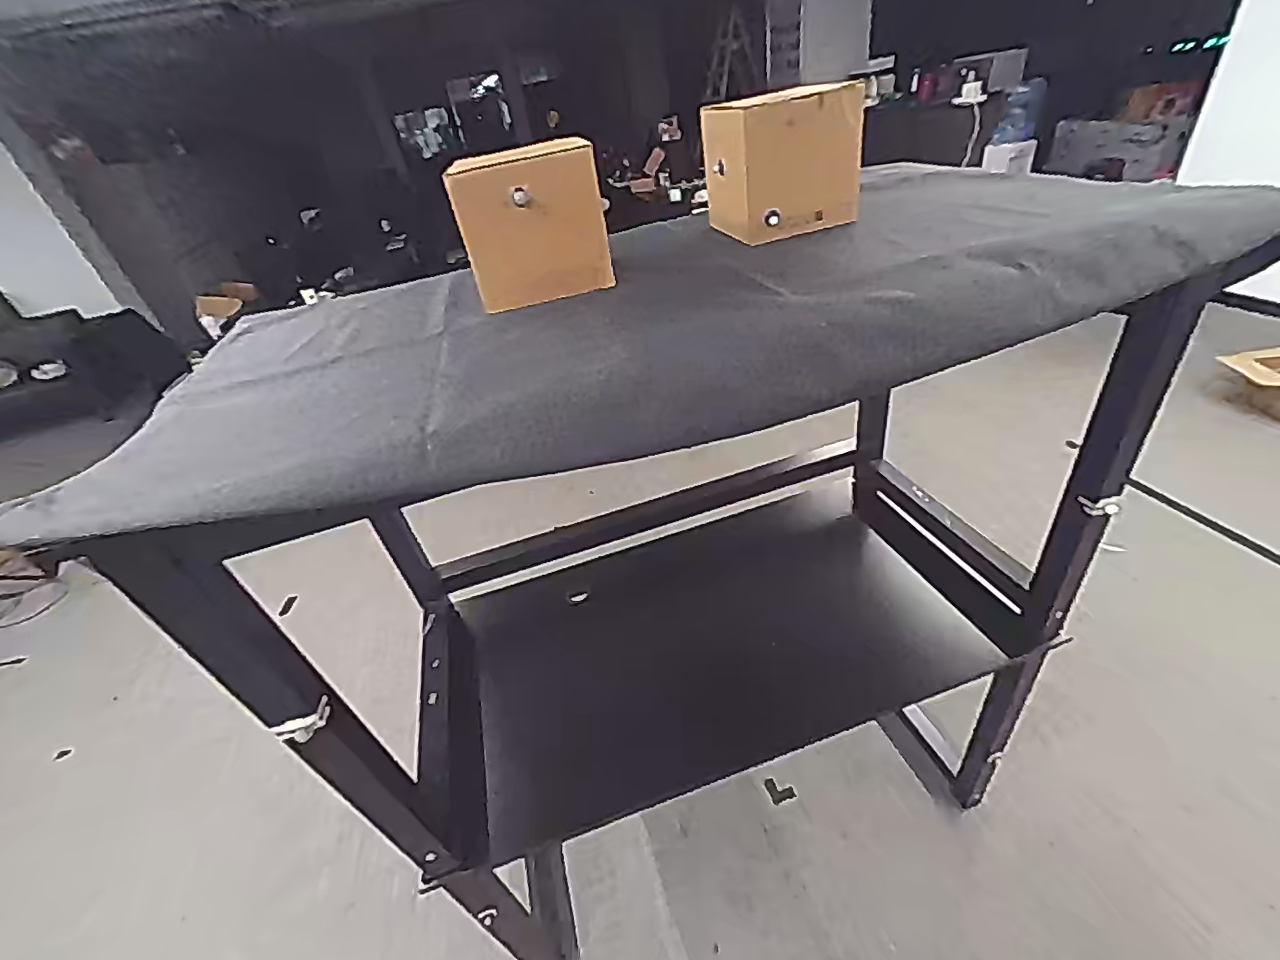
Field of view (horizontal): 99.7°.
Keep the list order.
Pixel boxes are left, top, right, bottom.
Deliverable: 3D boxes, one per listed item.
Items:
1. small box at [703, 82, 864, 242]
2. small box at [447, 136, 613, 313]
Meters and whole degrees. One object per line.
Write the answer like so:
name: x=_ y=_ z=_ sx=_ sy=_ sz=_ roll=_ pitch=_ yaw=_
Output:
small box: x=0.204 y=-0.461 z=0.791 sx=0.168 sy=0.176 sz=0.179 roll=-15 pitch=35 yaw=-5
small box: x=-0.138 y=-0.346 z=0.729 sx=0.179 sy=0.176 sz=0.168 roll=-14 pitch=36 yaw=-3
